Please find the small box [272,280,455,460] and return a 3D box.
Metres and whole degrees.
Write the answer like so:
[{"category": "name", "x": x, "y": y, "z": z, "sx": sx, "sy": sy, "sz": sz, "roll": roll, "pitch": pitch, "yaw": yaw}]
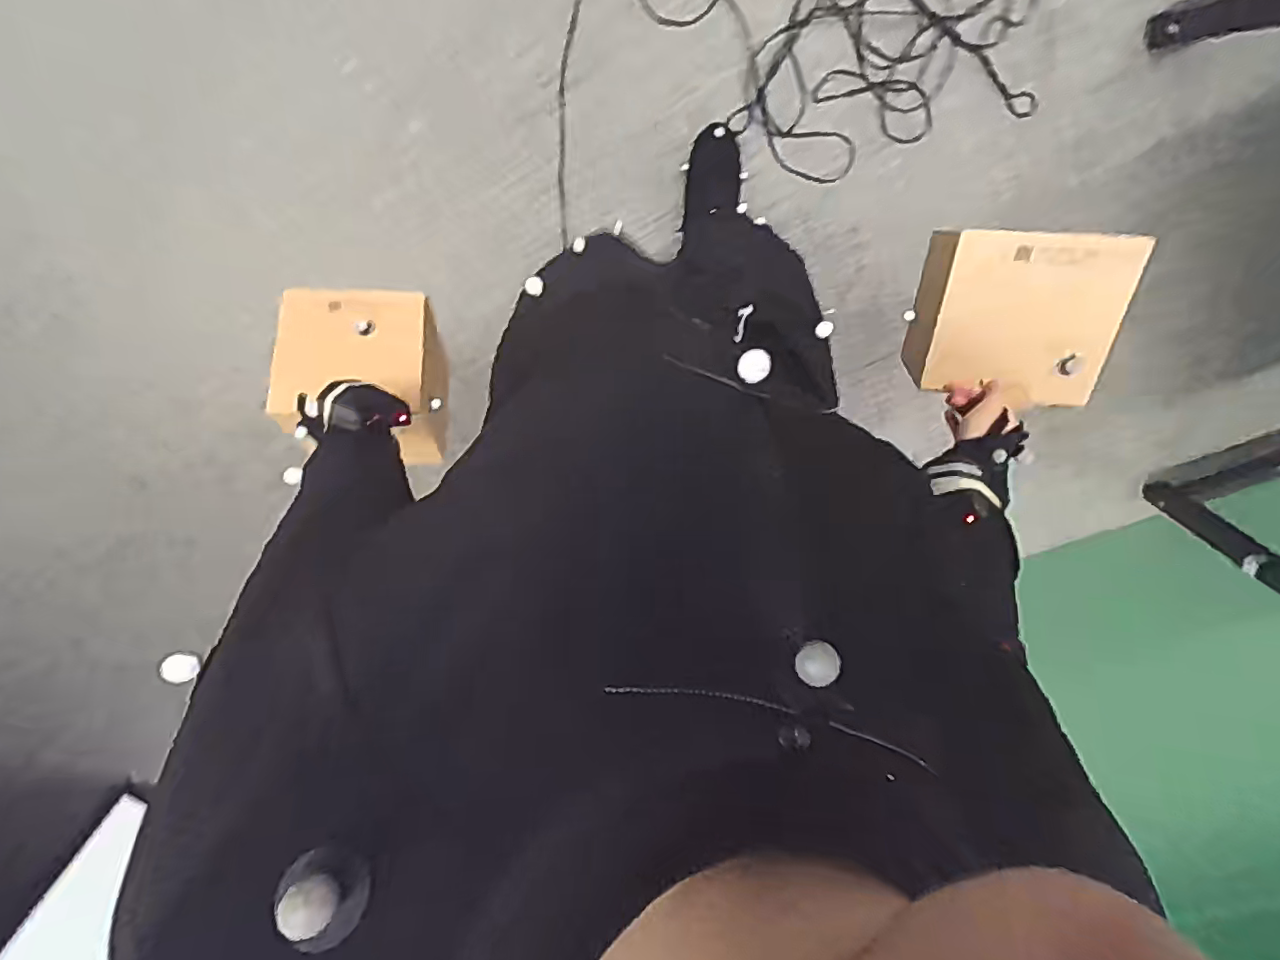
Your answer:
[{"category": "small box", "x": -0.344, "y": -0.134, "z": 0.712, "sx": 0.168, "sy": 0.176, "sz": 0.179, "roll": 0, "pitch": 162, "yaw": -9}]
